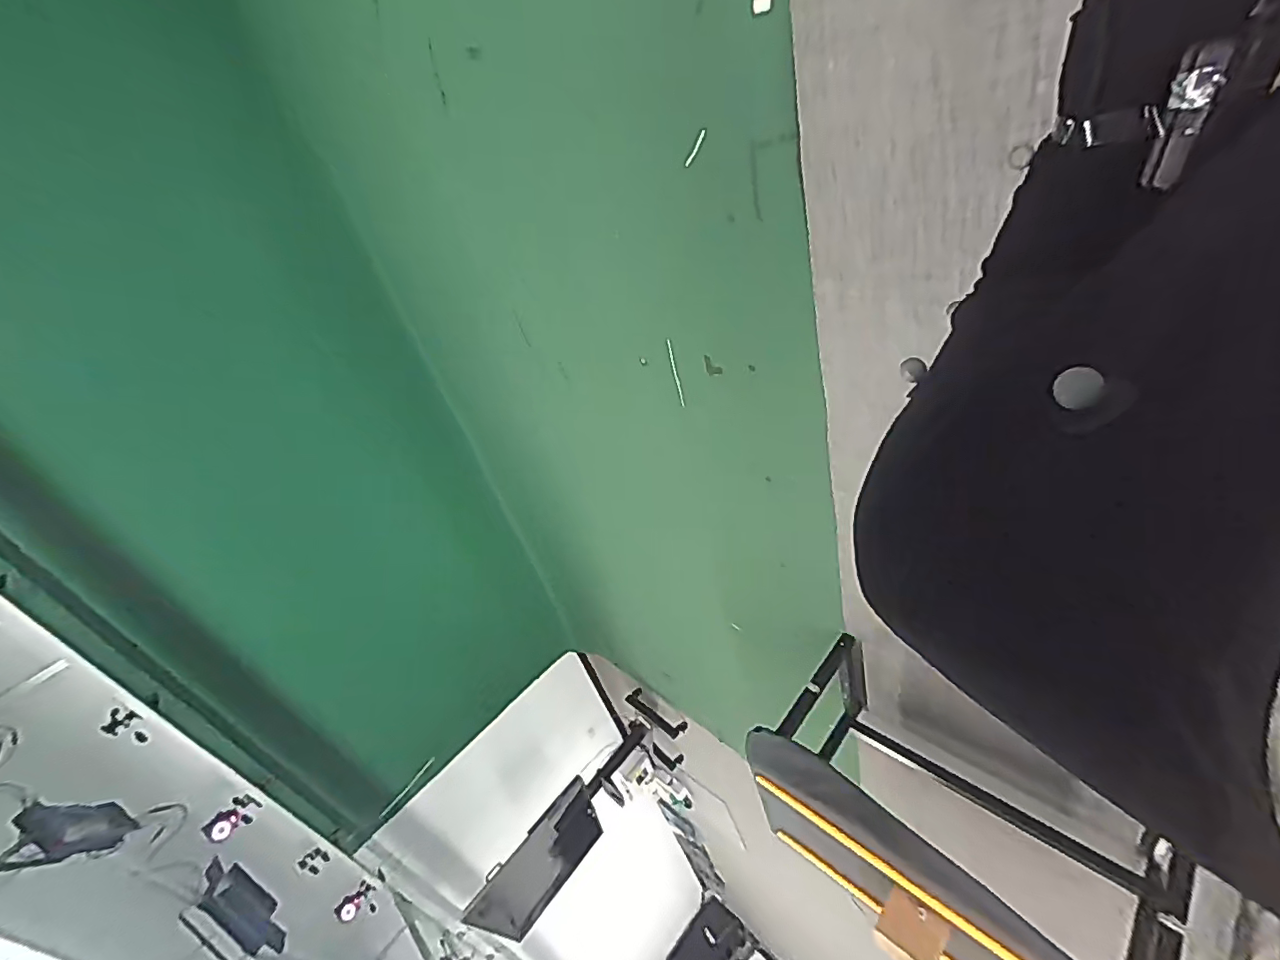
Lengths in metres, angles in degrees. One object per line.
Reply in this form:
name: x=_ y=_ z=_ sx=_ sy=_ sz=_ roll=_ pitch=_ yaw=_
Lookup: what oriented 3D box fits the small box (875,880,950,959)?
small box: x=0.868 y=1.436 z=1.720 sx=0.168 sy=0.176 sz=0.179 roll=16 pitch=135 yaw=43
